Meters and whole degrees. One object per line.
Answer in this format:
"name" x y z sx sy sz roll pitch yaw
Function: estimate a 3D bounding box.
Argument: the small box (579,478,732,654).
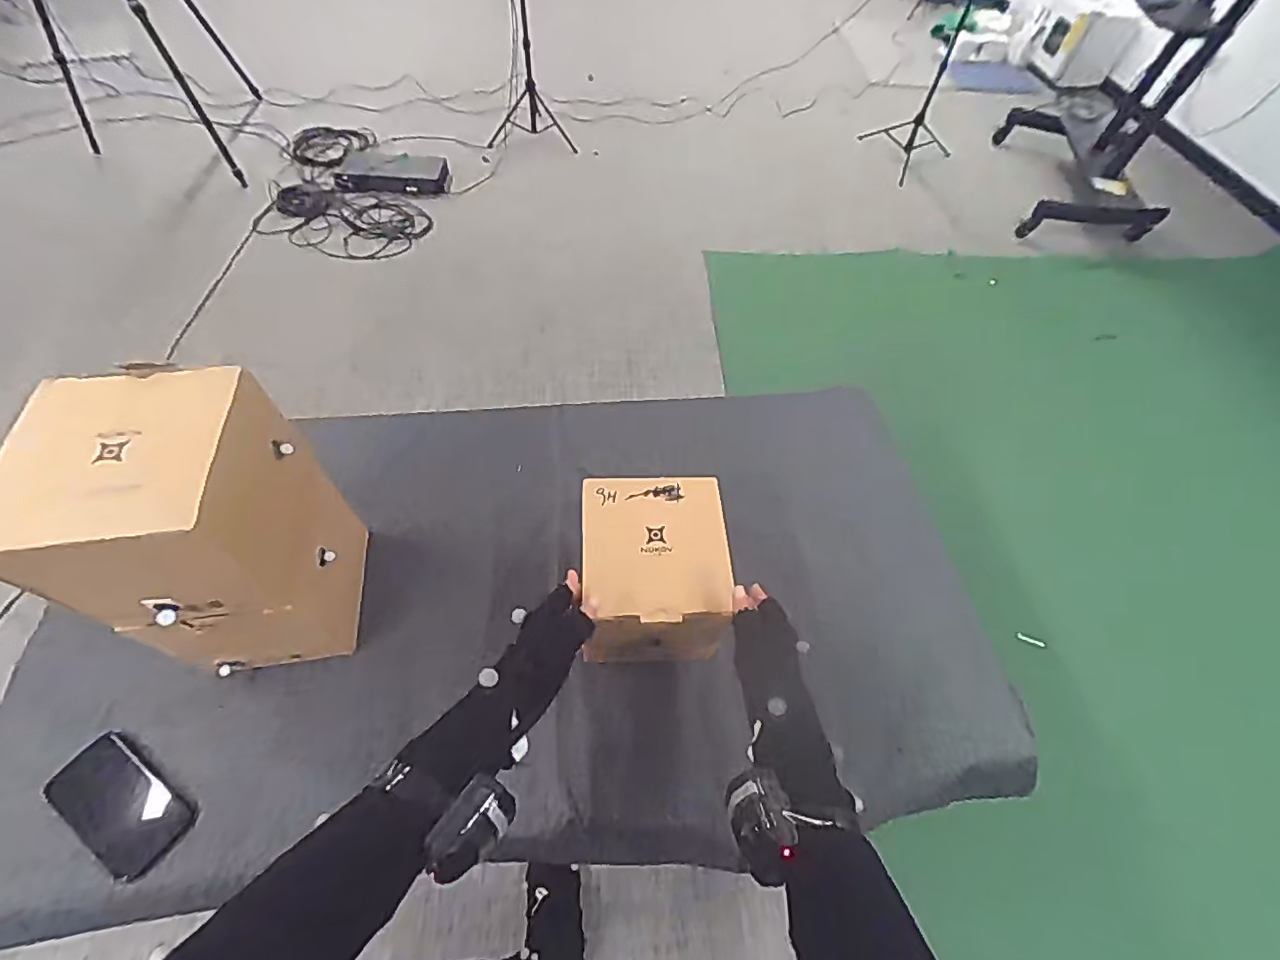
"small box" 0.010 0.114 0.680 0.168 0.176 0.179 0 58 -5

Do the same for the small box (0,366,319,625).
"small box" -0.430 0.018 0.511 0.168 0.176 0.179 -7 59 -9

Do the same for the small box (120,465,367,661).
"small box" -0.445 0.106 0.646 0.168 0.176 0.179 -6 57 -9
